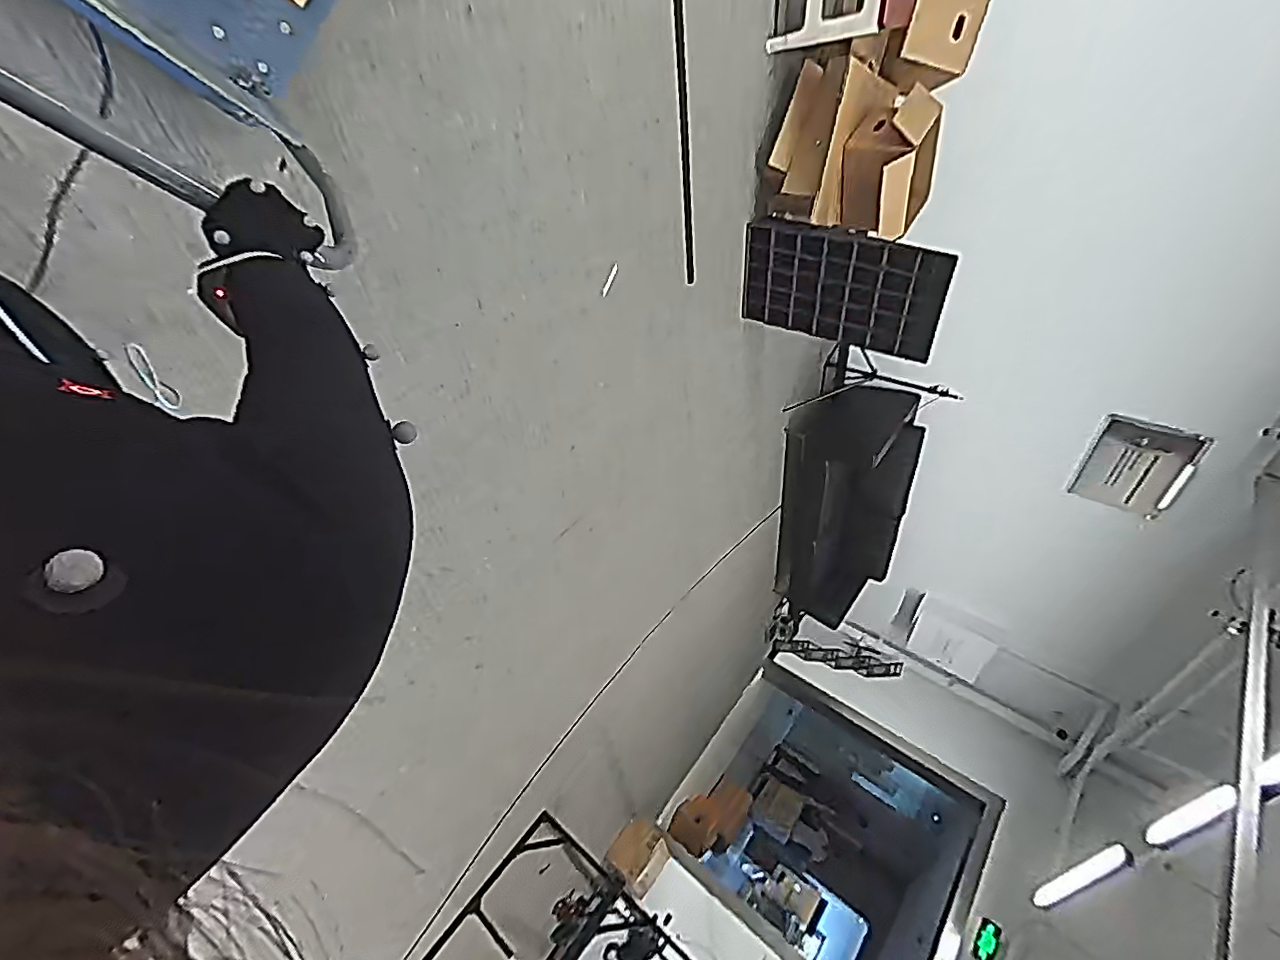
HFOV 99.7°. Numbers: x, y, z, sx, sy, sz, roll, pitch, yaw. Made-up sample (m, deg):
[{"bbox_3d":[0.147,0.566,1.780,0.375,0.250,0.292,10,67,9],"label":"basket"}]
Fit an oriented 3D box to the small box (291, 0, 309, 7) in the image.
[{"bbox_3d":[-0.567,-0.871,0.810,0.168,0.176,0.179,-49,149,7],"label":"small box"}]
